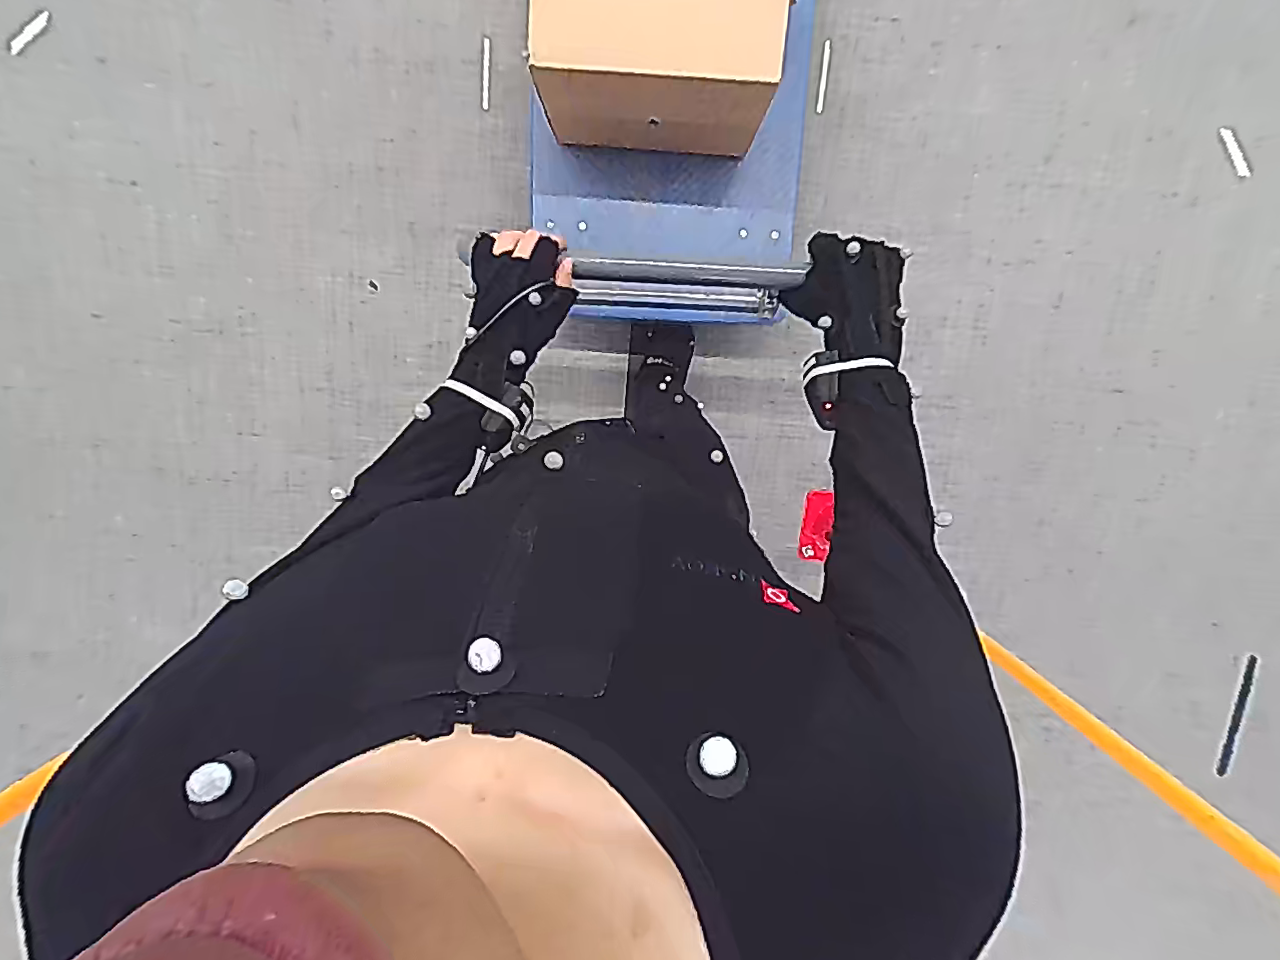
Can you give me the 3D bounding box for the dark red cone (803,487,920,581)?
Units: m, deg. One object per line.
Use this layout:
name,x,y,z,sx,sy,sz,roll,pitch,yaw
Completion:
dark red cone,0.548,0.153,1.293,0.201,0.394,0.202,4,101,-2

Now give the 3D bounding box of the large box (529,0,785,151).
large box,0.032,-0.824,0.976,0.408,0.320,0.320,4,102,0
